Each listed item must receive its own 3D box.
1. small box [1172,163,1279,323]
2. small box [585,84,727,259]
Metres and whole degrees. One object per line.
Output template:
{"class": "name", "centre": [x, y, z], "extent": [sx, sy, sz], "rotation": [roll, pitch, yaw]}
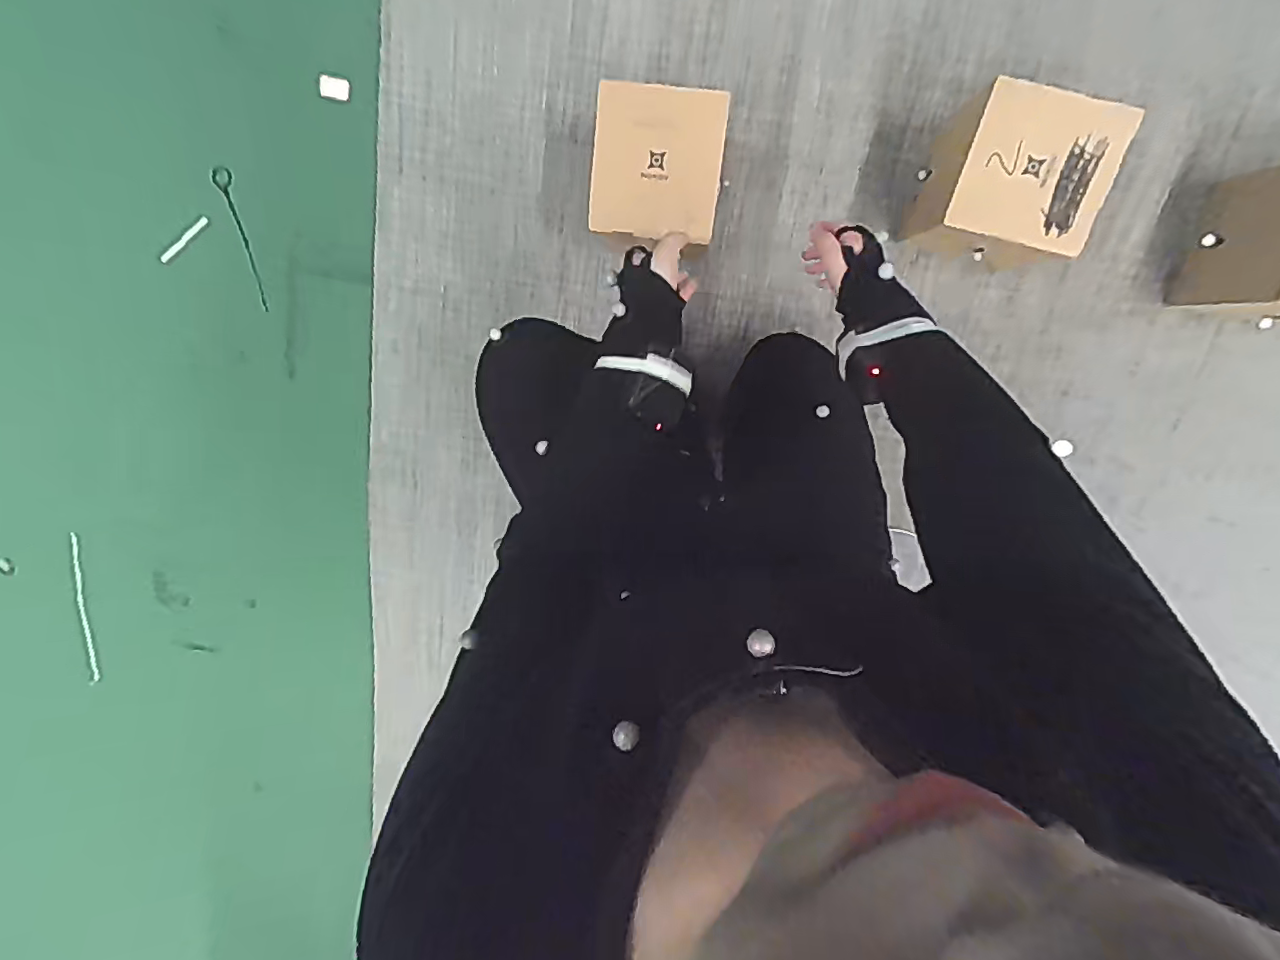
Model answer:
{"class": "small box", "centre": [0.872, -0.306, 0.709], "extent": [0.168, 0.176, 0.179], "rotation": [12, 107, 2]}
{"class": "small box", "centre": [0.025, -0.421, 0.767], "extent": [0.168, 0.176, 0.179], "rotation": [8, 105, 3]}
